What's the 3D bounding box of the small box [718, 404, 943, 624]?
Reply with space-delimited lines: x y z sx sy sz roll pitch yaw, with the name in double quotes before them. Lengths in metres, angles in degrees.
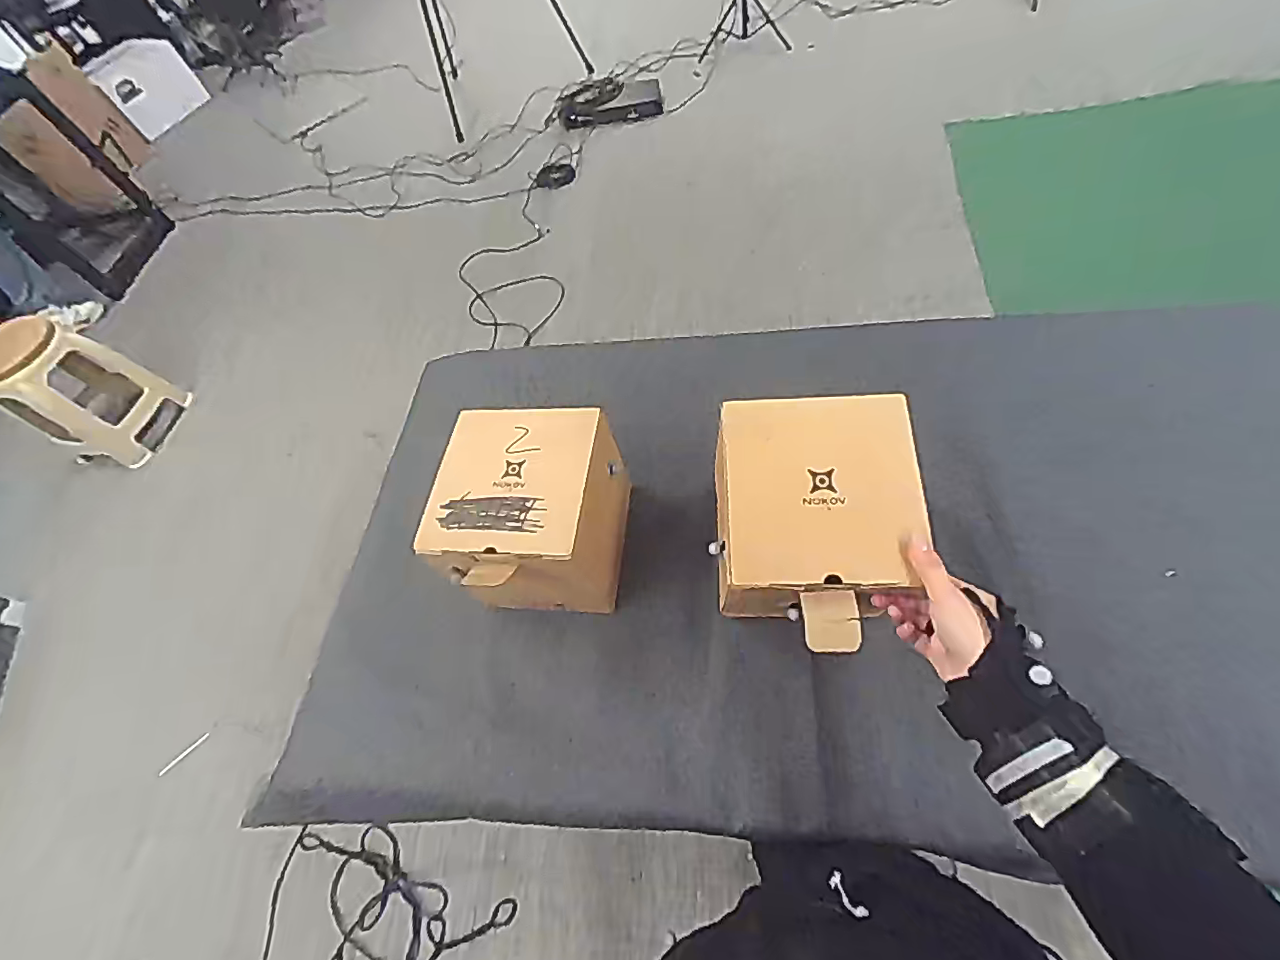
"small box" 0.166 0.041 0.535 0.168 0.176 0.179 -1 69 5
